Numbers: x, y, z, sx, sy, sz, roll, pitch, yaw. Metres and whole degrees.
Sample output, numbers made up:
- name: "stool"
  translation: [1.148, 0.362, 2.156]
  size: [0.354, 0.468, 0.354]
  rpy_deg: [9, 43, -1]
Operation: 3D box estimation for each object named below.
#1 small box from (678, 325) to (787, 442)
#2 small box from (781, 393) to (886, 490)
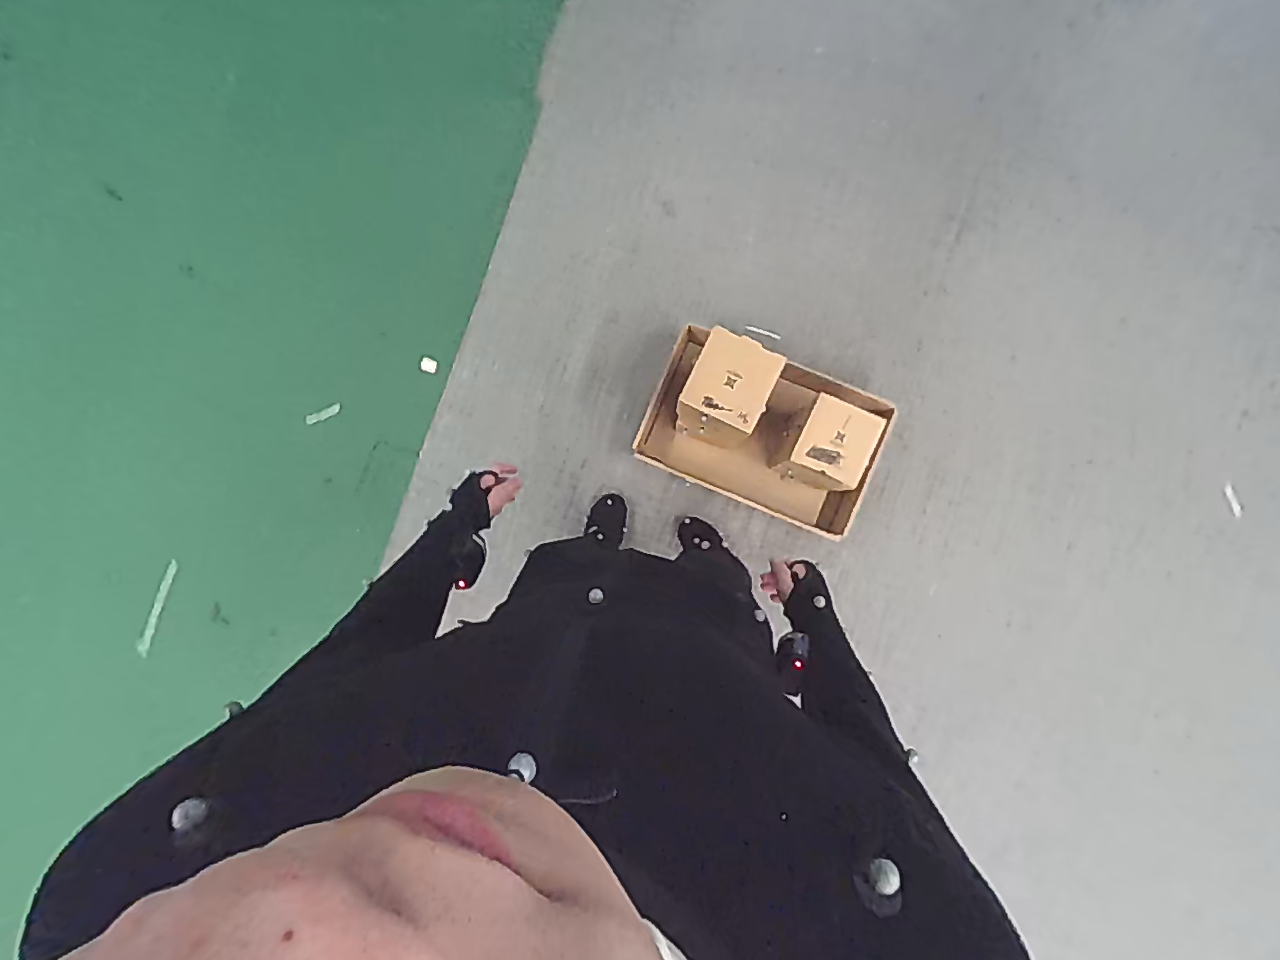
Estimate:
- name: "small box"
  translation: [0.189, -0.199, 1.167]
  size: [0.168, 0.176, 0.179]
  rpy_deg: [26, 88, 3]
- name: "small box"
  translation: [0.457, -0.085, 1.313]
  size: [0.168, 0.176, 0.179]
  rpy_deg: [25, 89, 5]
